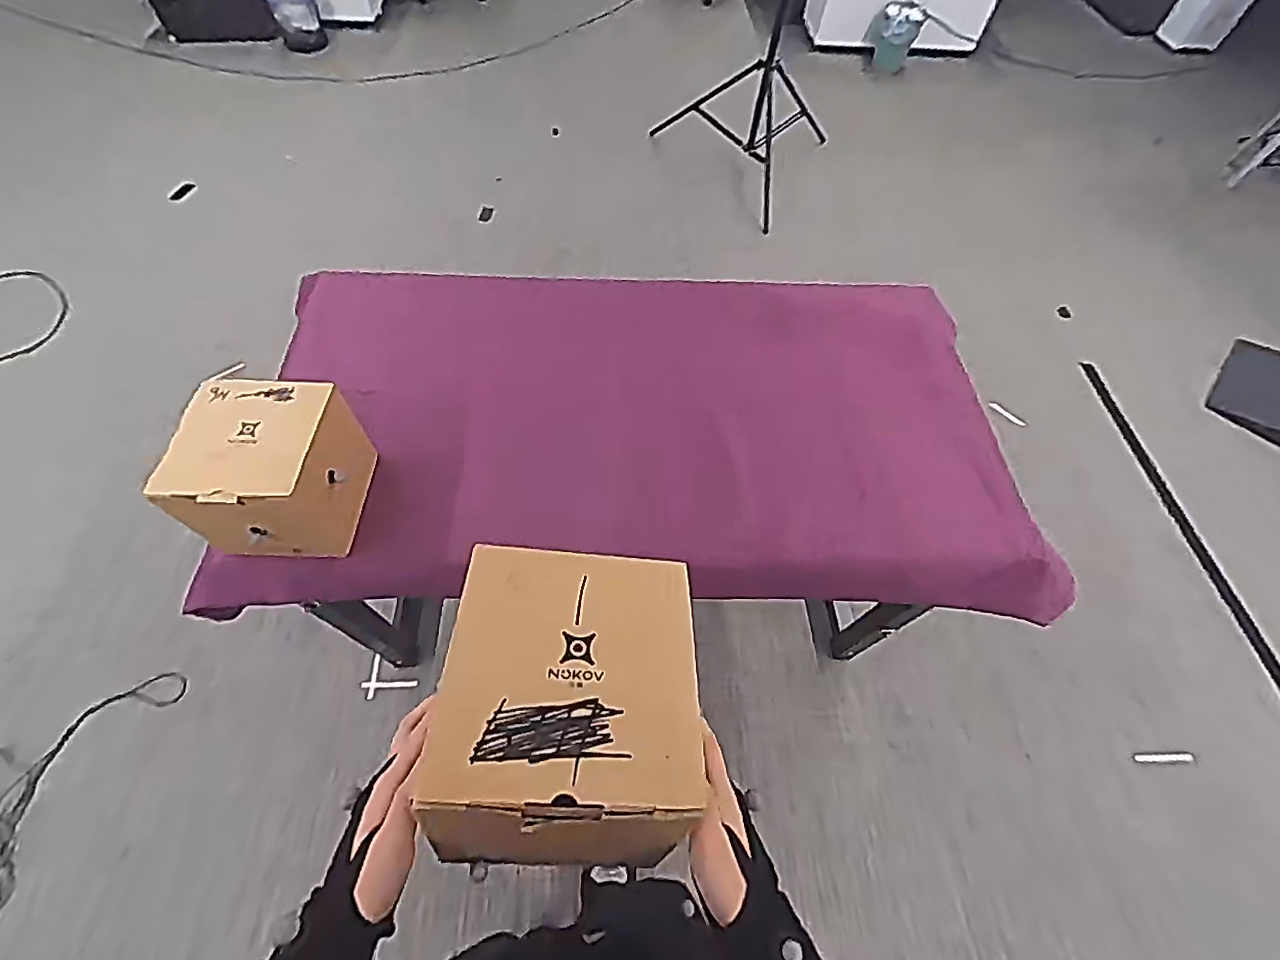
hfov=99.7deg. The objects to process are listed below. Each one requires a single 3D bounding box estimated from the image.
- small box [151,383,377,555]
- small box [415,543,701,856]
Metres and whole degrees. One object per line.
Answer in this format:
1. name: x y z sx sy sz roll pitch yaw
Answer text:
1. small box: -0.480 -0.008 0.728 0.168 0.176 0.179 2 59 -3
2. small box: -0.056 0.173 0.419 0.168 0.176 0.179 6 45 -7
